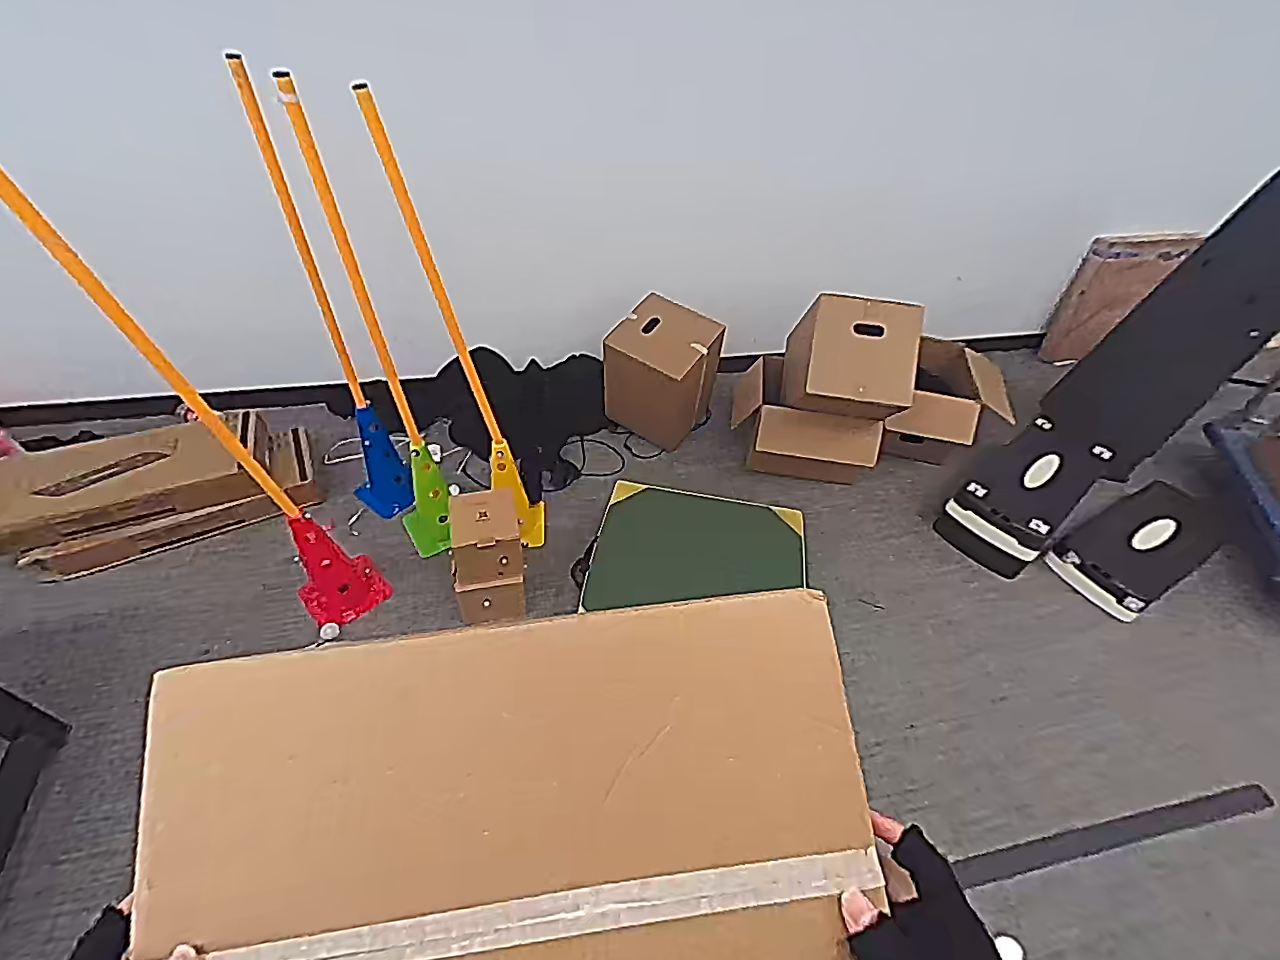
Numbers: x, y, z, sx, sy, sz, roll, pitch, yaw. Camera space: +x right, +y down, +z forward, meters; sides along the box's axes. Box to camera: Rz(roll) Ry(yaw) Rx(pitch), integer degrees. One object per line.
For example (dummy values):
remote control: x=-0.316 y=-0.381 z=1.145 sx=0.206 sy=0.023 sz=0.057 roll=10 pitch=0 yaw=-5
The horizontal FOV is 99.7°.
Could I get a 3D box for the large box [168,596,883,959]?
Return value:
large box: x=-0.070 y=0.284 z=0.451 sx=0.408 sy=0.320 sz=0.320 roll=-7 pitch=77 yaw=-3
